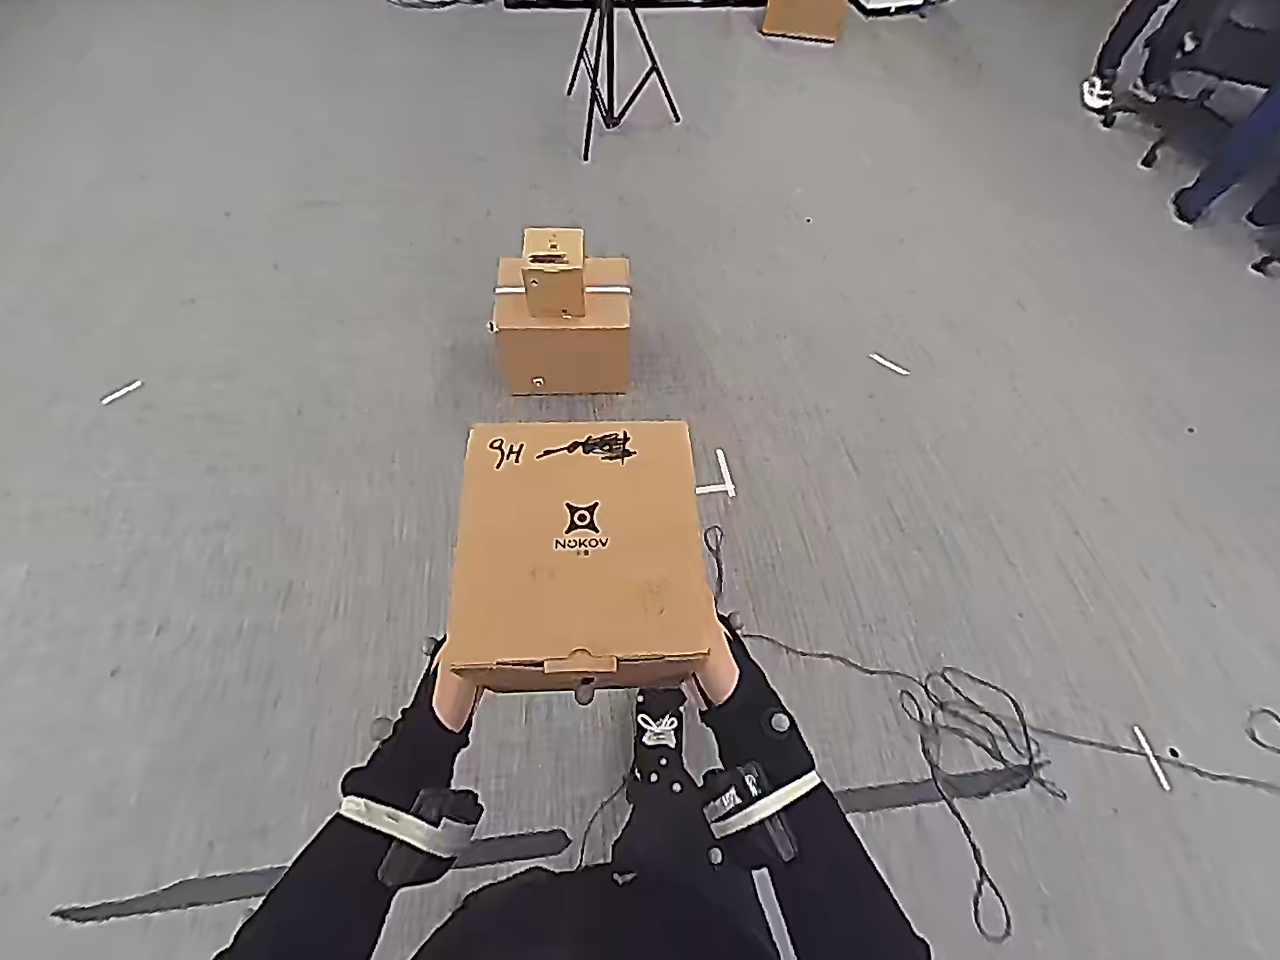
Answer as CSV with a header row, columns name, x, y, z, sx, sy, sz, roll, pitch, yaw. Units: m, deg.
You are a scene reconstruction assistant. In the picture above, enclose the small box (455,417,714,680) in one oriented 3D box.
name,x,y,z,sx,sy,sz,roll,pitch,yaw
small box,-0.041,0.066,0.442,0.168,0.176,0.179,-1,64,-5
